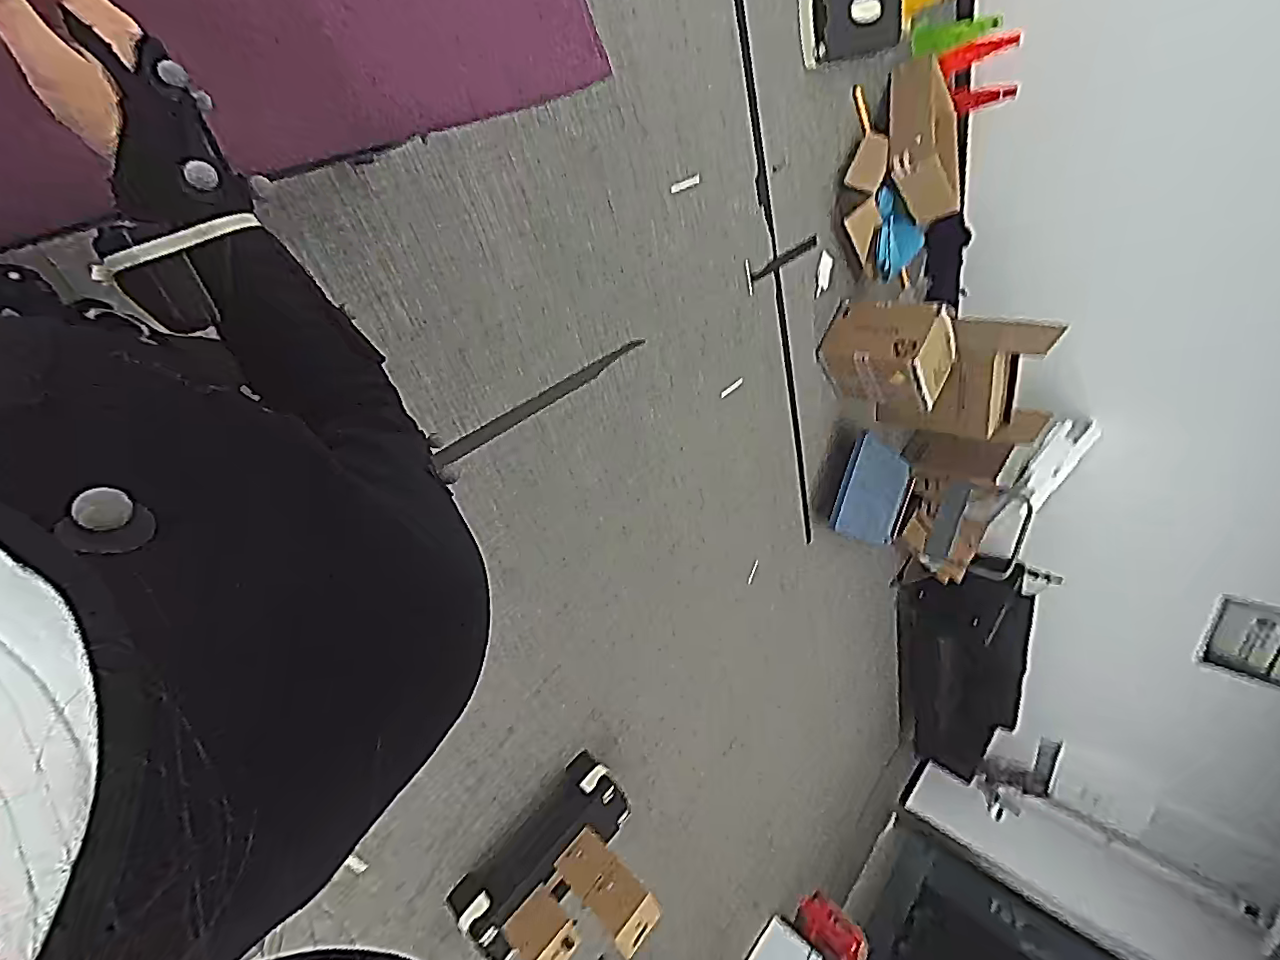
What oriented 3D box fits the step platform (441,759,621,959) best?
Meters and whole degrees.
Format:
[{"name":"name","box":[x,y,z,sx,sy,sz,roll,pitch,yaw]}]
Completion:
[{"name":"step platform","box":[-0.373,1.421,2.026,0.684,0.204,0.286,-40,129,-31]}]

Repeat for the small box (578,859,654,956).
[{"name":"small box","box":[-0.083,1.441,1.834,0.168,0.176,0.179,-38,128,-31]}]

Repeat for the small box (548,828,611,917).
[{"name":"small box","box":[-0.200,1.401,1.941,0.168,0.176,0.179,-38,128,-32]}]
